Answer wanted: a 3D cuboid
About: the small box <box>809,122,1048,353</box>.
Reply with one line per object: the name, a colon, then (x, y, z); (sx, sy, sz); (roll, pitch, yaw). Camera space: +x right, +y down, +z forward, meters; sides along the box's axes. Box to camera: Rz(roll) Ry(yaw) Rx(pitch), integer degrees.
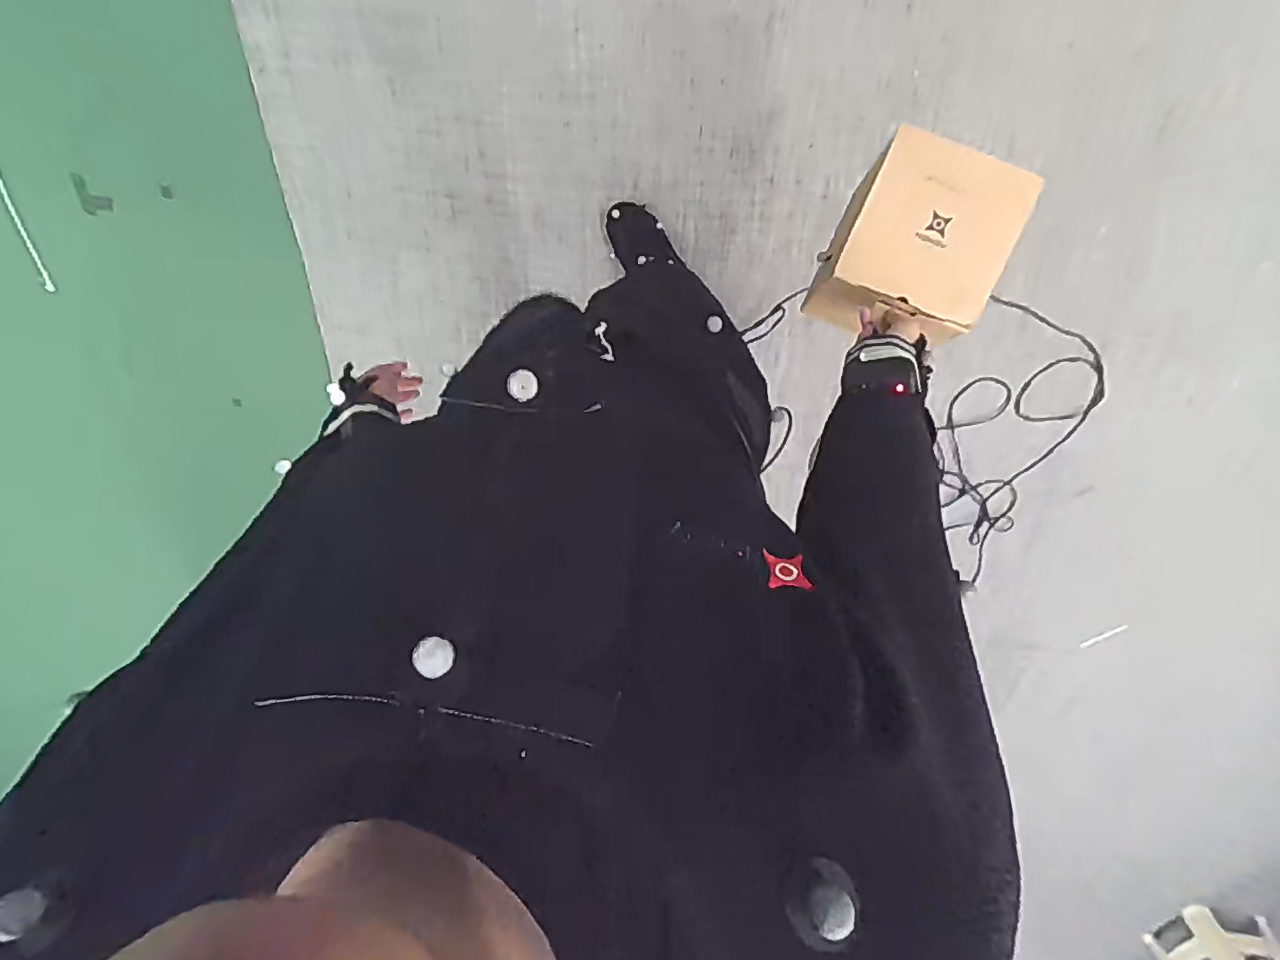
small box: (0.324, -0.271, 0.653); (0.168, 0.176, 0.179); (25, 94, 1)
